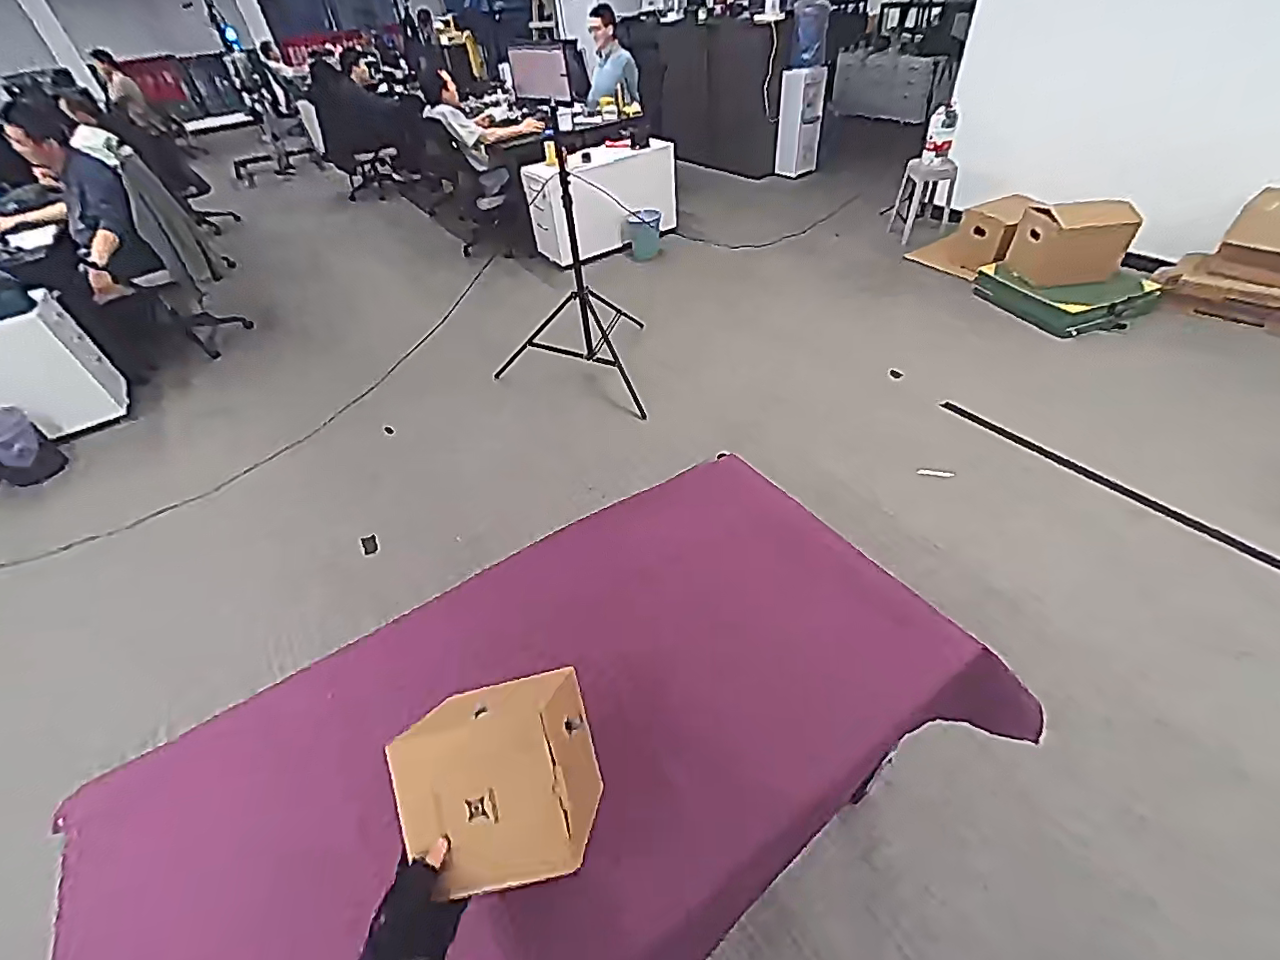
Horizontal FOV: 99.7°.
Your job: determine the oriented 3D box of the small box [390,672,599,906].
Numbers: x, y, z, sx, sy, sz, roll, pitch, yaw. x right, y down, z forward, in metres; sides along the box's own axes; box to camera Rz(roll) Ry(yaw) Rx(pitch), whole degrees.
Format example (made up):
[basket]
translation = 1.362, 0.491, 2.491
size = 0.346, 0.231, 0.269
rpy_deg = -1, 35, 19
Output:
[small box]
translation = -0.154, 0.345, 0.640
size = 0.179, 0.176, 0.168
rpy_deg = -16, 85, 5
